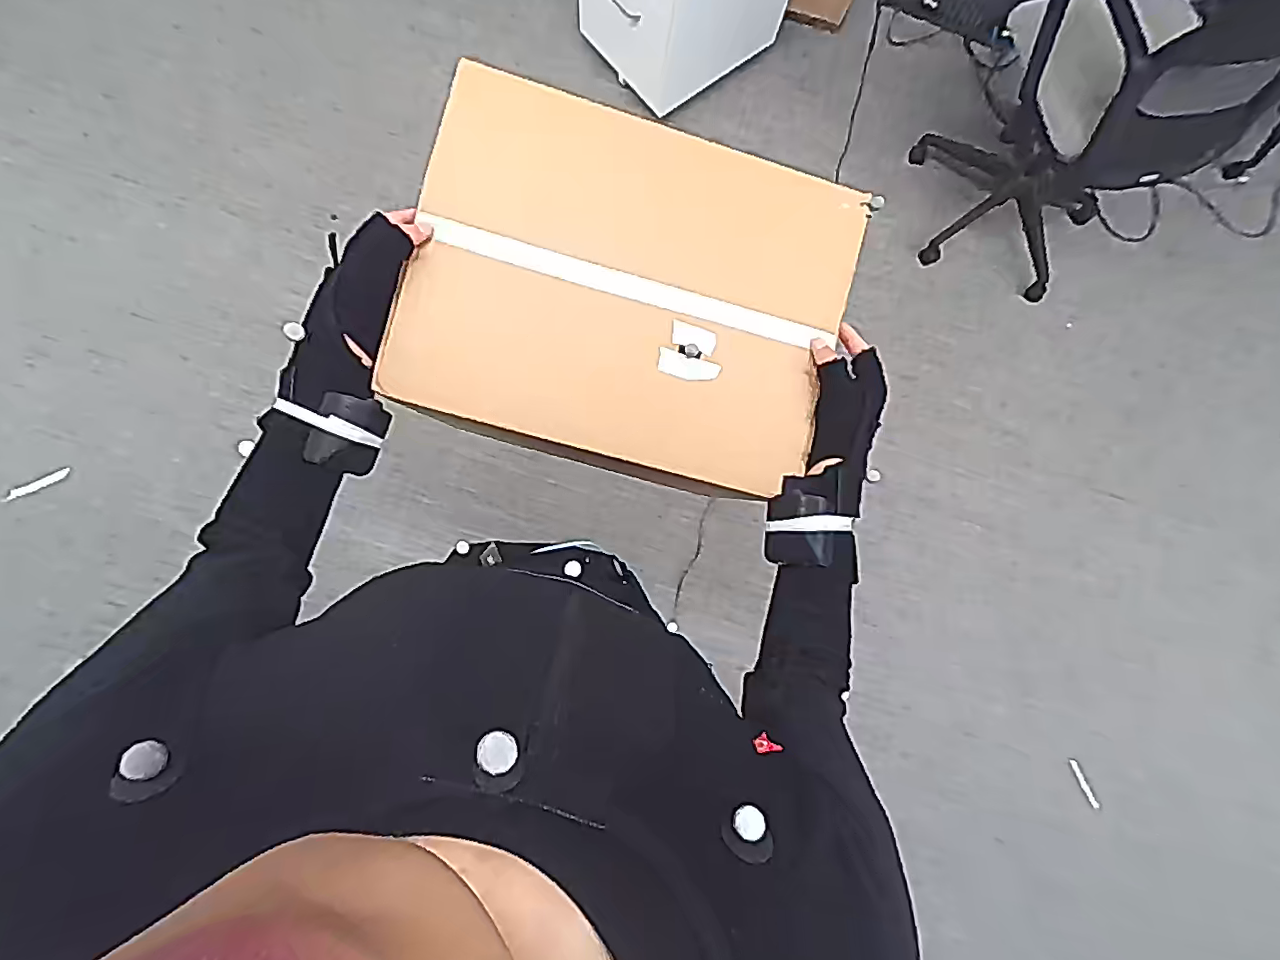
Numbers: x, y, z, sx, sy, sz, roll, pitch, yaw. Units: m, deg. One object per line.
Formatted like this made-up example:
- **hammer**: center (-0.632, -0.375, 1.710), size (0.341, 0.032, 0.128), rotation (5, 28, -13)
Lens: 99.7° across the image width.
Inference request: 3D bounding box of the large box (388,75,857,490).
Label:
- **large box**: center (-0.025, -0.182, 0.664), size (0.408, 0.320, 0.320), rotation (15, 89, -7)
